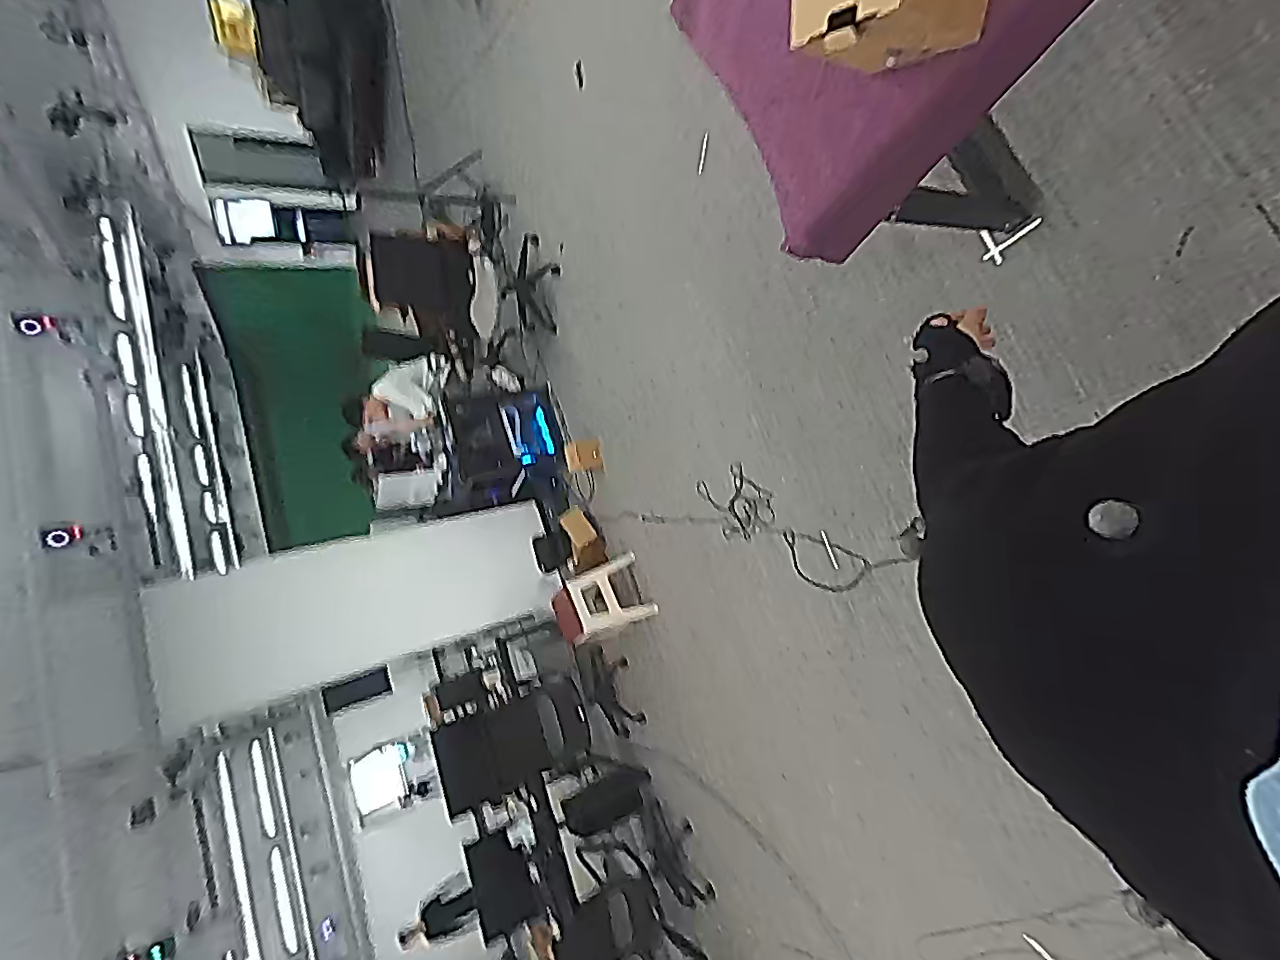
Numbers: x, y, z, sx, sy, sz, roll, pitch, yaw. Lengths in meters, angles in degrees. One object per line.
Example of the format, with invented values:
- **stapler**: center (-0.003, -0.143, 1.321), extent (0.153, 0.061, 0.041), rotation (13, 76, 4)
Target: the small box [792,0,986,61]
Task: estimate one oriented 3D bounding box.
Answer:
- **small box**: center (0.317, -0.651, 0.660), extent (0.168, 0.176, 0.179), rotation (34, 128, 51)
